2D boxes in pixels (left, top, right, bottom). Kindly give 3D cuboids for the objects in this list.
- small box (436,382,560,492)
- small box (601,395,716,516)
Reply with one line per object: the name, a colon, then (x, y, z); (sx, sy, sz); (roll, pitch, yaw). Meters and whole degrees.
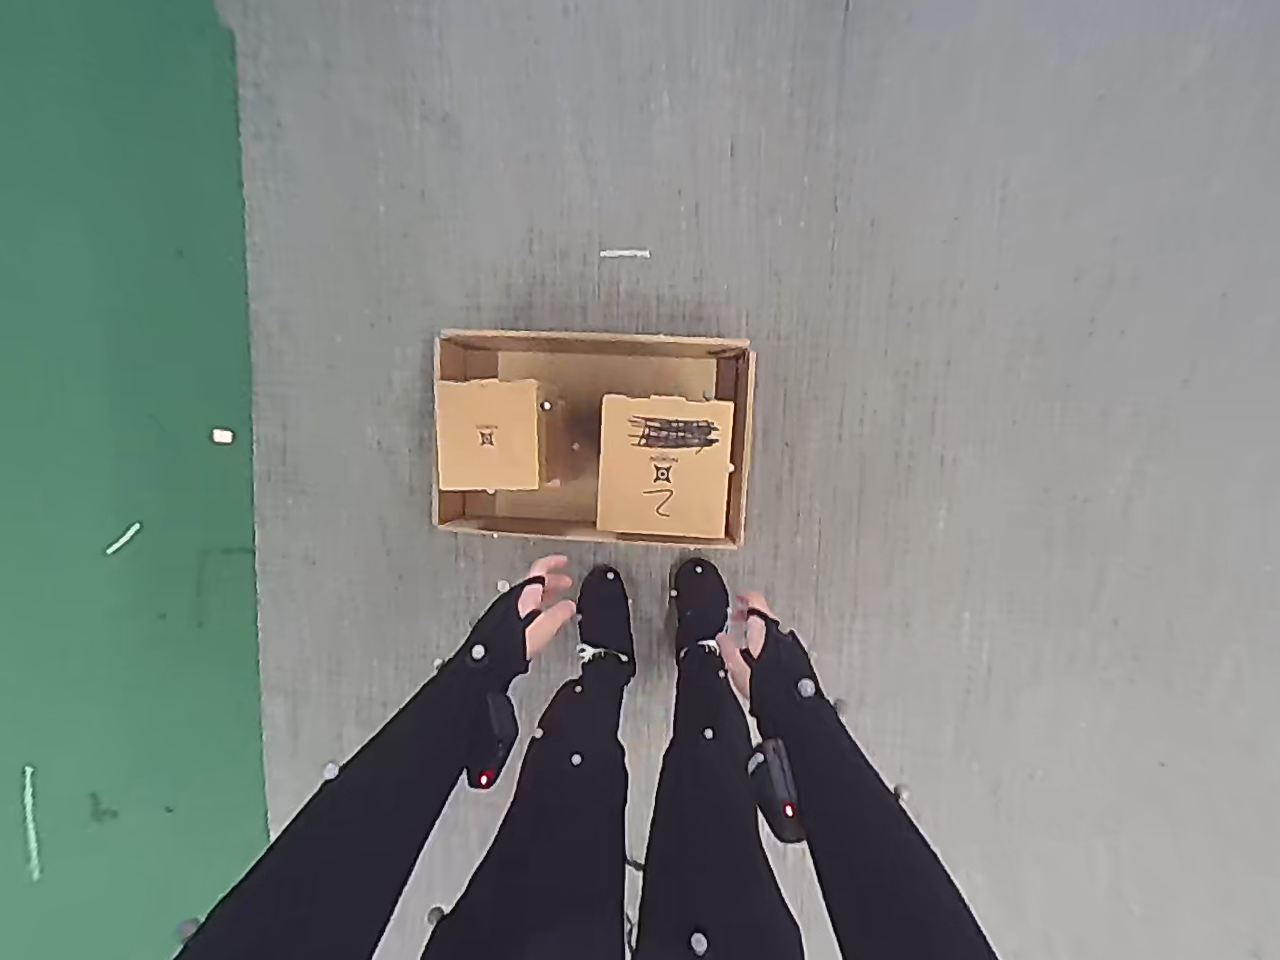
small box: (-0.237, -0.075, 0.944); (0.168, 0.176, 0.179); (-1, 94, 4)
small box: (0.034, -0.045, 0.925); (0.168, 0.176, 0.179); (6, 95, 3)
